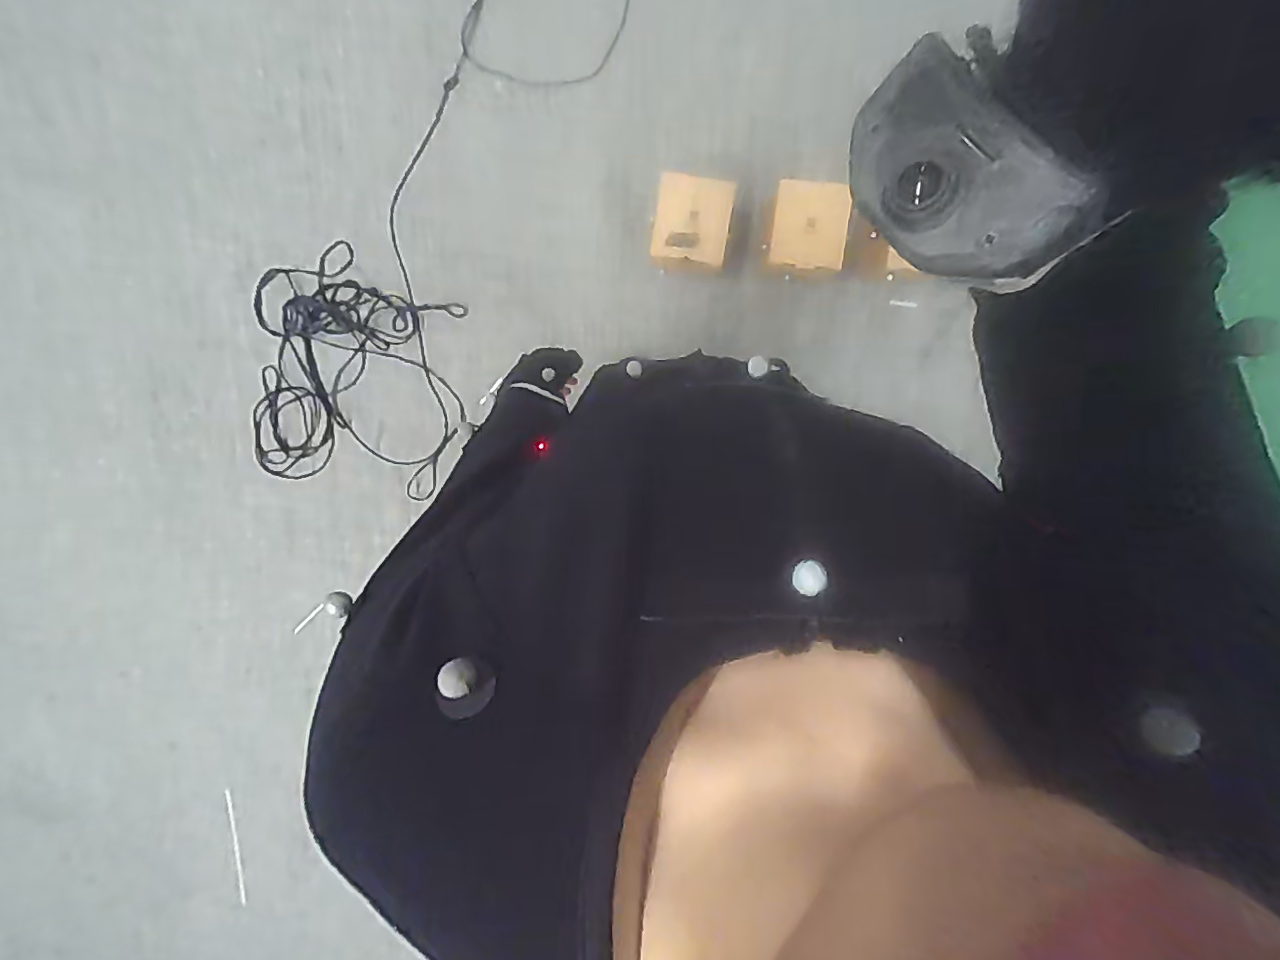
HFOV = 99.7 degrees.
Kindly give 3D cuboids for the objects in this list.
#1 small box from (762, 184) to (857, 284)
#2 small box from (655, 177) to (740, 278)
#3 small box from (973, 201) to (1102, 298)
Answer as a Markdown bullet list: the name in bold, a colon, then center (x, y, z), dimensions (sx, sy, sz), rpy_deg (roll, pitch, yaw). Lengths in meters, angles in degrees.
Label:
- **small box**: center (0.393, -0.575, 1.281), dimensions (0.168, 0.176, 0.179), rpy_deg (5, 102, 1)
- **small box**: center (0.132, -0.590, 1.286), dimensions (0.168, 0.176, 0.179), rpy_deg (9, 102, 0)
- **small box**: center (0.921, -0.535, 1.273), dimensions (0.168, 0.176, 0.179), rpy_deg (5, 103, 1)
